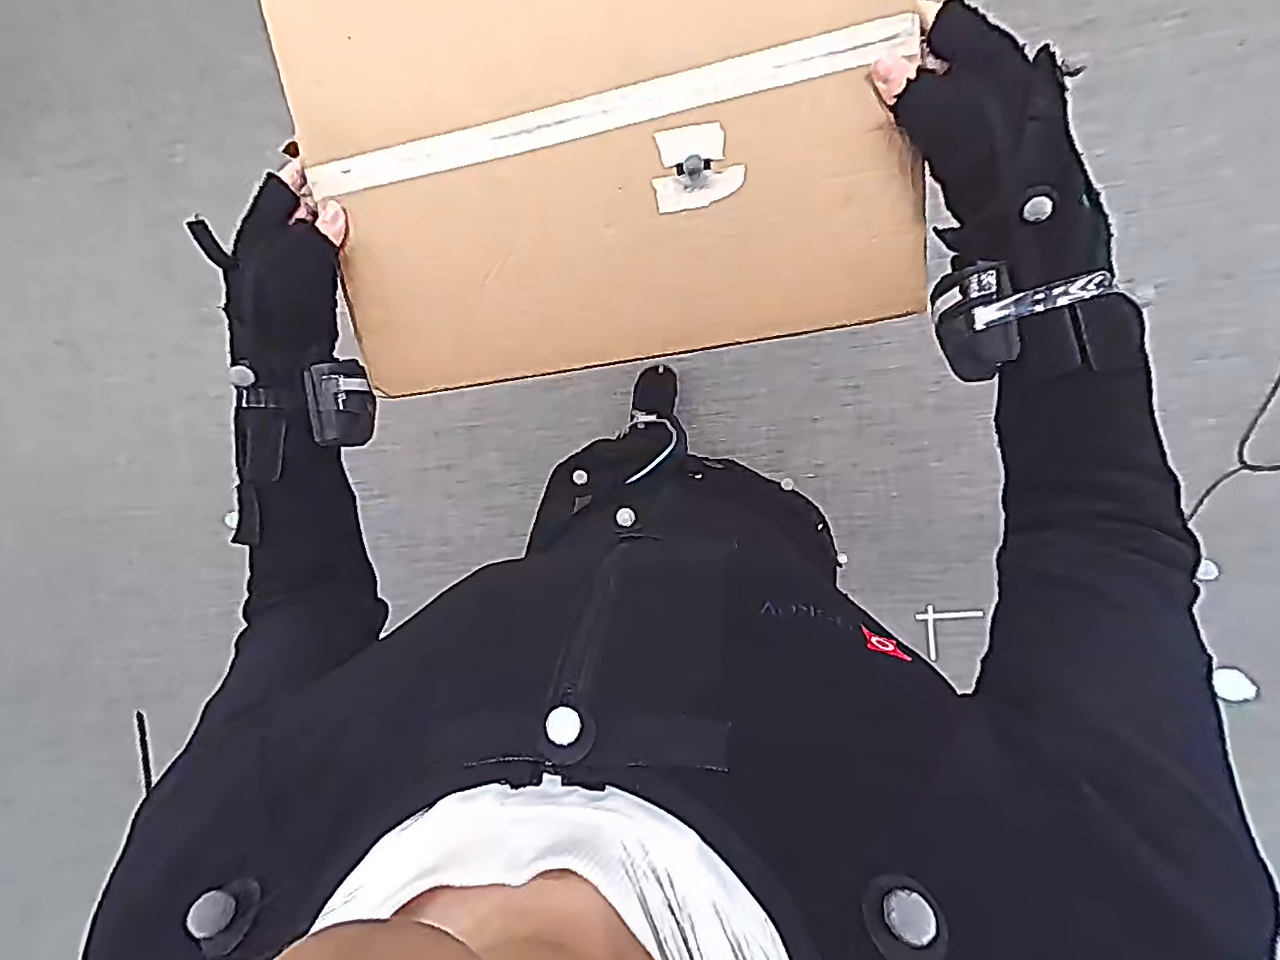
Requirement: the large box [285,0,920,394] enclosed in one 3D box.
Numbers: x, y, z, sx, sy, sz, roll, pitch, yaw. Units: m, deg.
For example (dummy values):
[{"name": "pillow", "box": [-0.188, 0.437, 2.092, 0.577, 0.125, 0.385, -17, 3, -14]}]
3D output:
[{"name": "large box", "box": [-0.012, -0.280, 0.508, 0.408, 0.320, 0.320, -8, 105, 10]}]
